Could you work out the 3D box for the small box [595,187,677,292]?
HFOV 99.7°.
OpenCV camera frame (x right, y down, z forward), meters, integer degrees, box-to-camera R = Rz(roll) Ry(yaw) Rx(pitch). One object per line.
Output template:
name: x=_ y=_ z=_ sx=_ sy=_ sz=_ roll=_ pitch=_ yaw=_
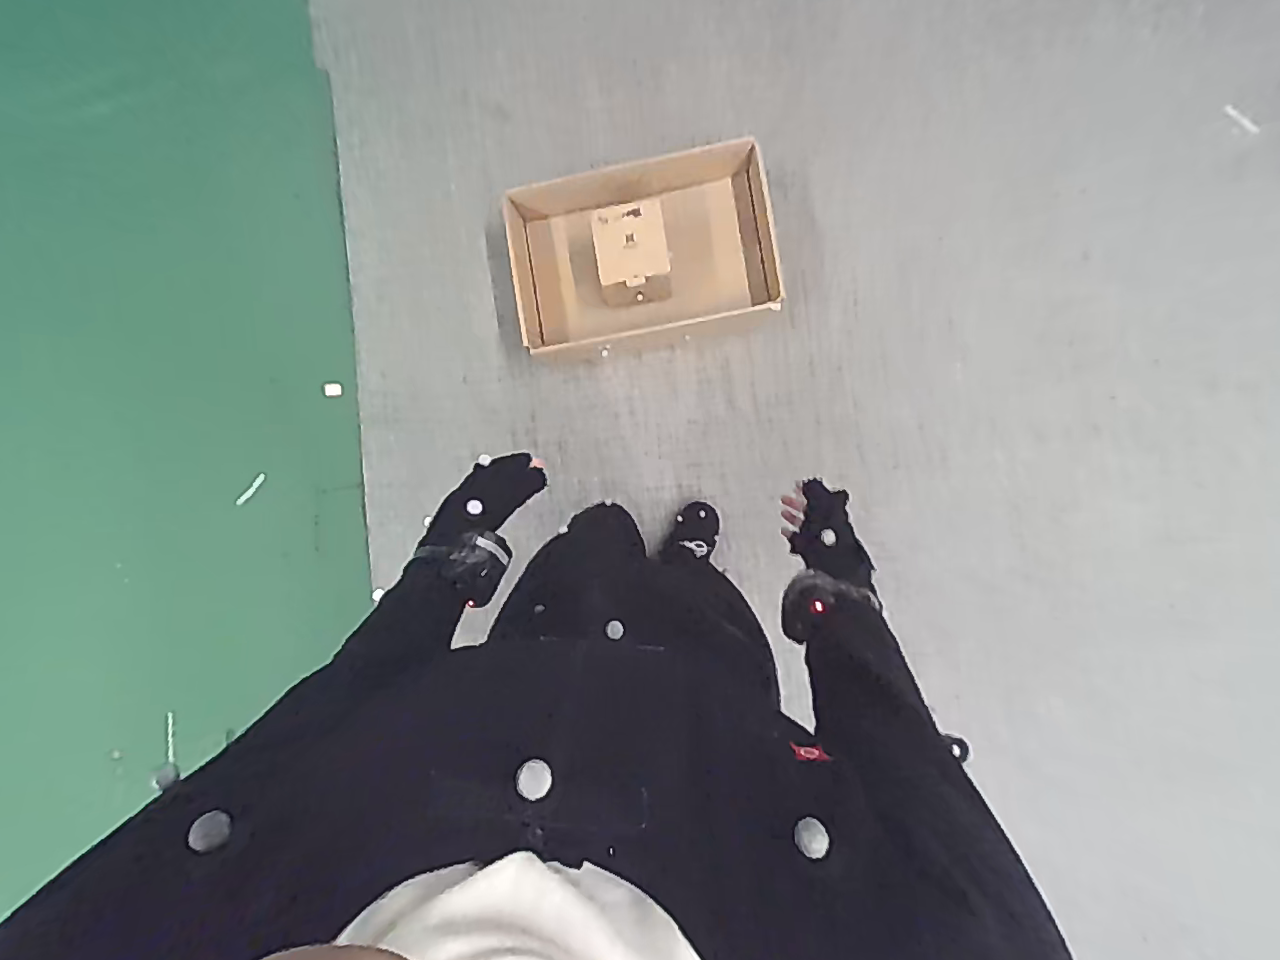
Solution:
small box: x=-0.003 y=-0.571 z=1.312 sx=0.168 sy=0.176 sz=0.179 roll=-8 pitch=90 yaw=6
